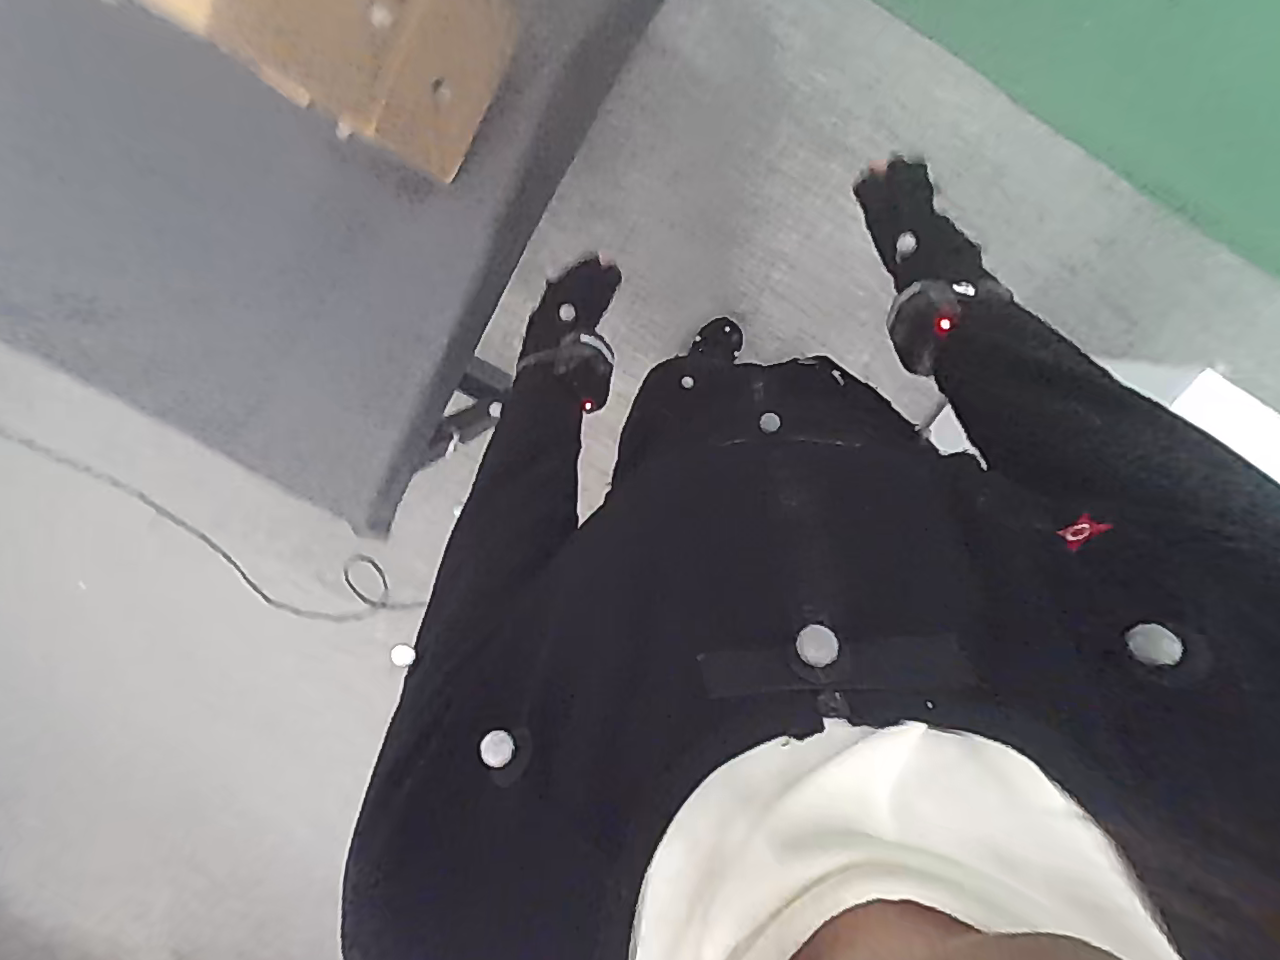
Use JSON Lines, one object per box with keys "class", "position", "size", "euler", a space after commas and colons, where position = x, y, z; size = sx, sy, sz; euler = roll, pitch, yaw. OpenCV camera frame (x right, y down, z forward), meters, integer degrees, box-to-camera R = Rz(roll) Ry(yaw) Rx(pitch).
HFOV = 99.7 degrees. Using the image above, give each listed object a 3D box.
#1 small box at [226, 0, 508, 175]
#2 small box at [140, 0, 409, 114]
{"class": "small box", "position": [-0.249, -0.426, 0.509], "size": [0.168, 0.176, 0.179], "euler": [32, 108, -4]}
{"class": "small box", "position": [-0.276, -0.384, 0.352], "size": [0.179, 0.176, 0.168], "euler": [29, 107, -1]}
